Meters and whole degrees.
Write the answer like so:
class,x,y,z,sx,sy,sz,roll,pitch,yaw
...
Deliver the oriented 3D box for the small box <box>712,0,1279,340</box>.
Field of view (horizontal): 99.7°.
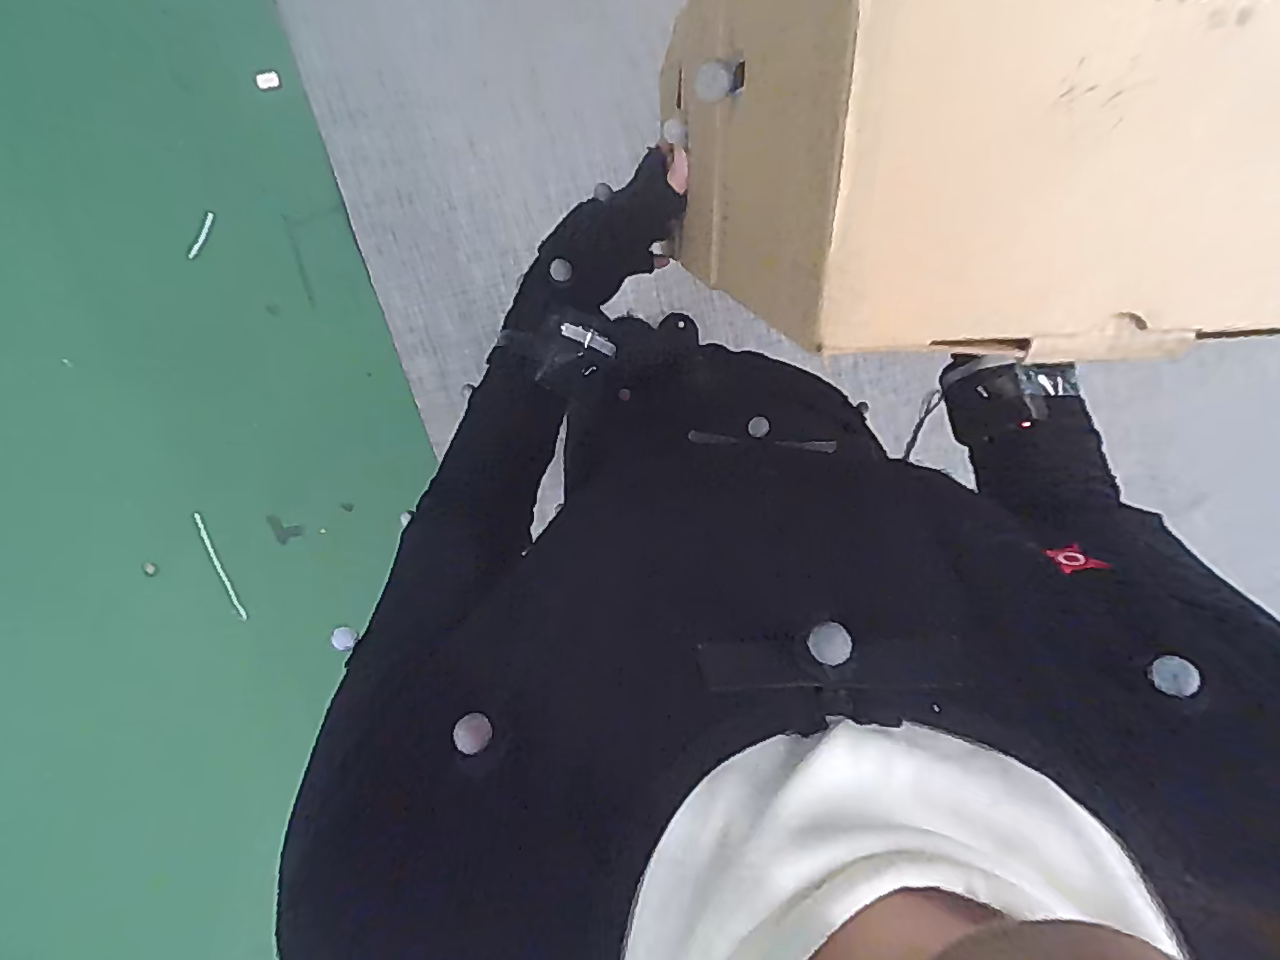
class,x,y,z,sx,sy,sz,roll,pitch,yaw
small box,0.118,-0.157,0.184,0.168,0.176,0.179,-3,117,1
